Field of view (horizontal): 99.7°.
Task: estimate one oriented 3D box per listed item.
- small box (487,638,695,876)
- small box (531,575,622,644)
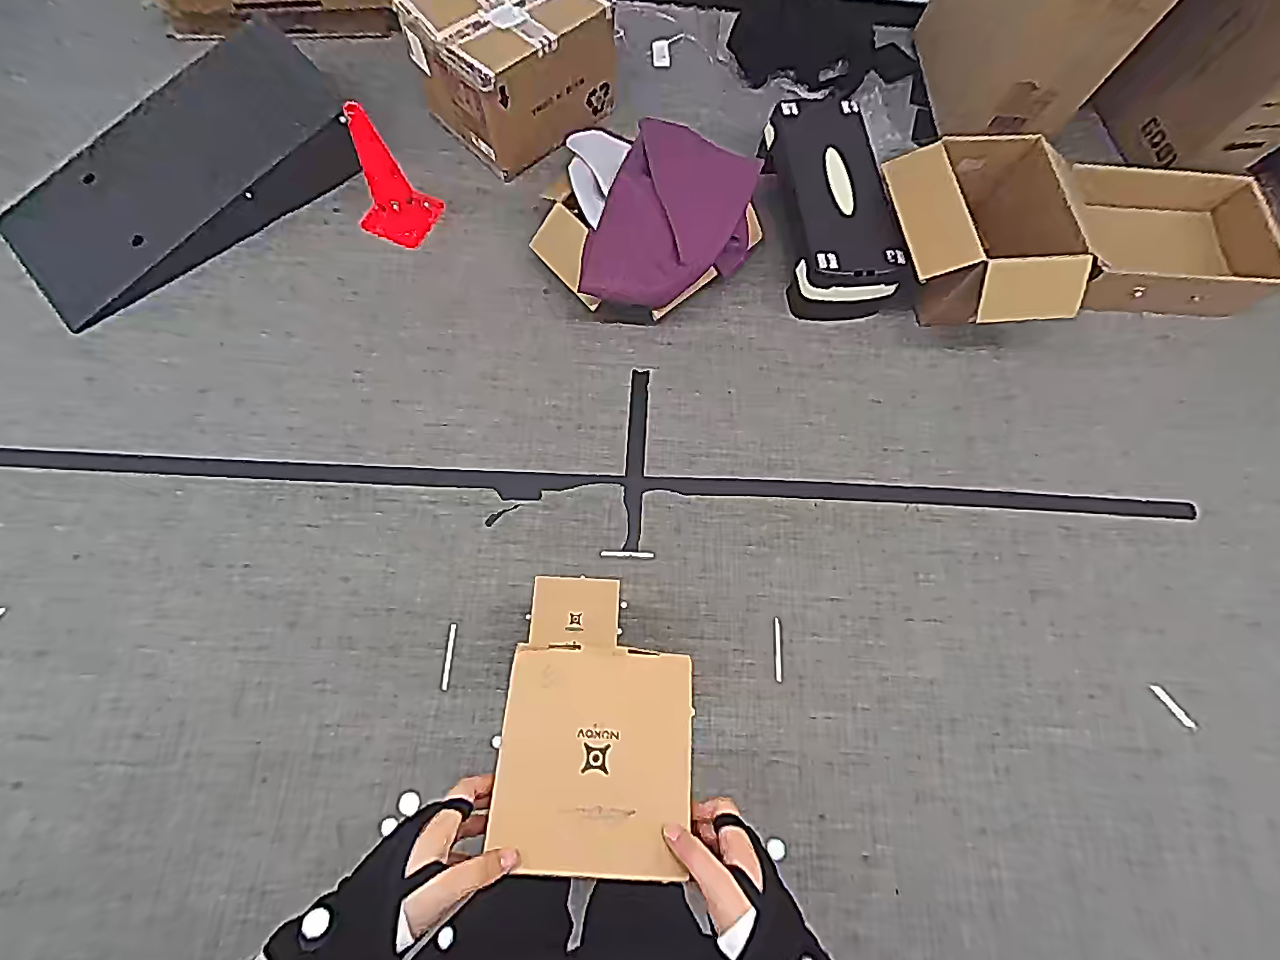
[{"bbox_3d":[-0.040,0.264,0.530,0.168,0.176,0.179,4,63,-2],"label":"small box"},{"bbox_3d":[-0.126,0.295,1.086,0.168,0.176,0.179,3,72,-3],"label":"small box"}]
